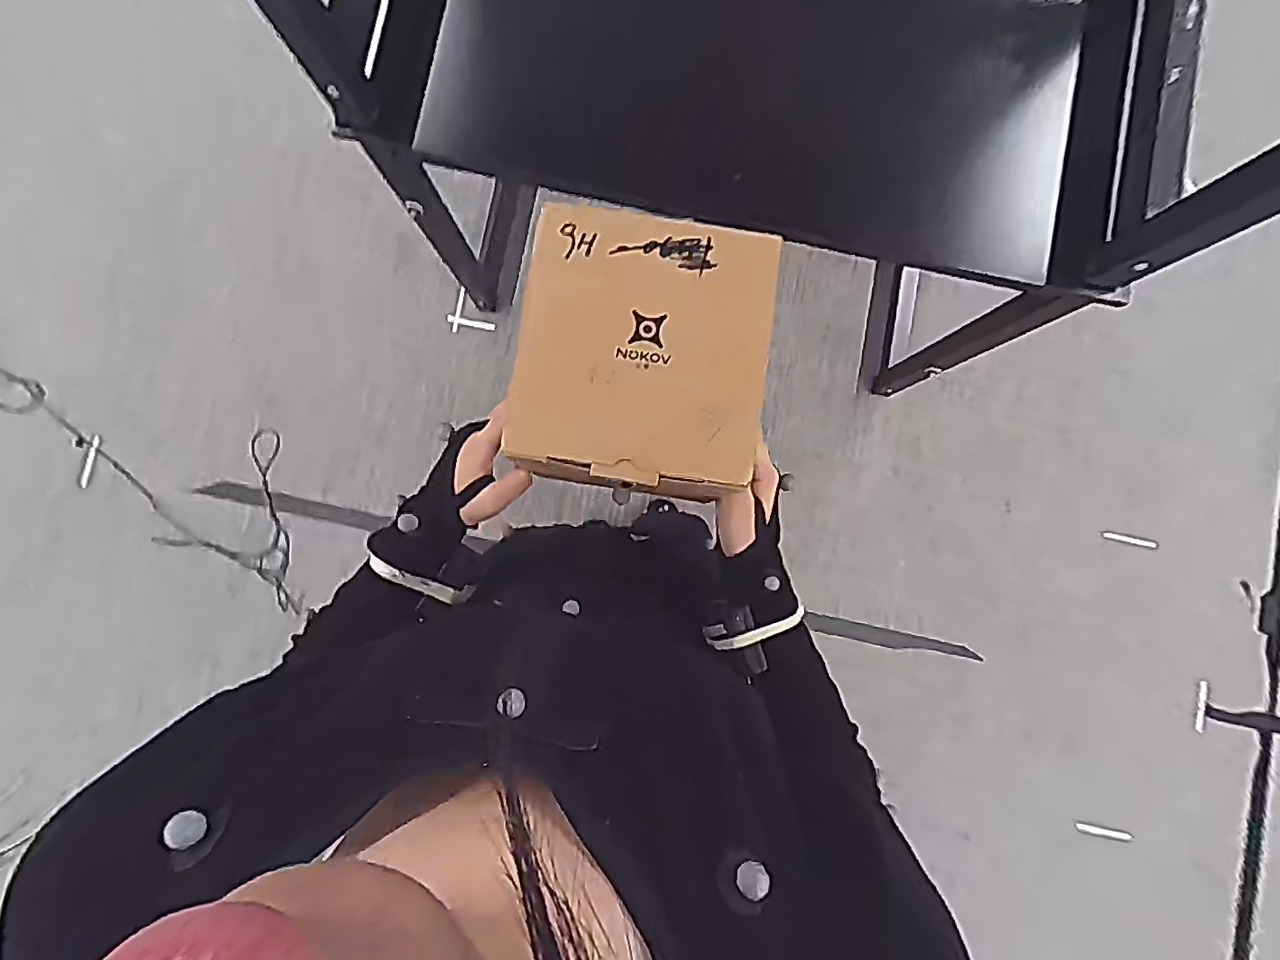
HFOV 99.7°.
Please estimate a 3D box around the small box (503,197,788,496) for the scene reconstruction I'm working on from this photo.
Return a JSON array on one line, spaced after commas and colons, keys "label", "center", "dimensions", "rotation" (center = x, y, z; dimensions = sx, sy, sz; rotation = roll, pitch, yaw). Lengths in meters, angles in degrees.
[{"label": "small box", "center": [0.003, -0.084, 0.429], "dimensions": [0.168, 0.176, 0.179], "rotation": [8, 86, -2]}]
